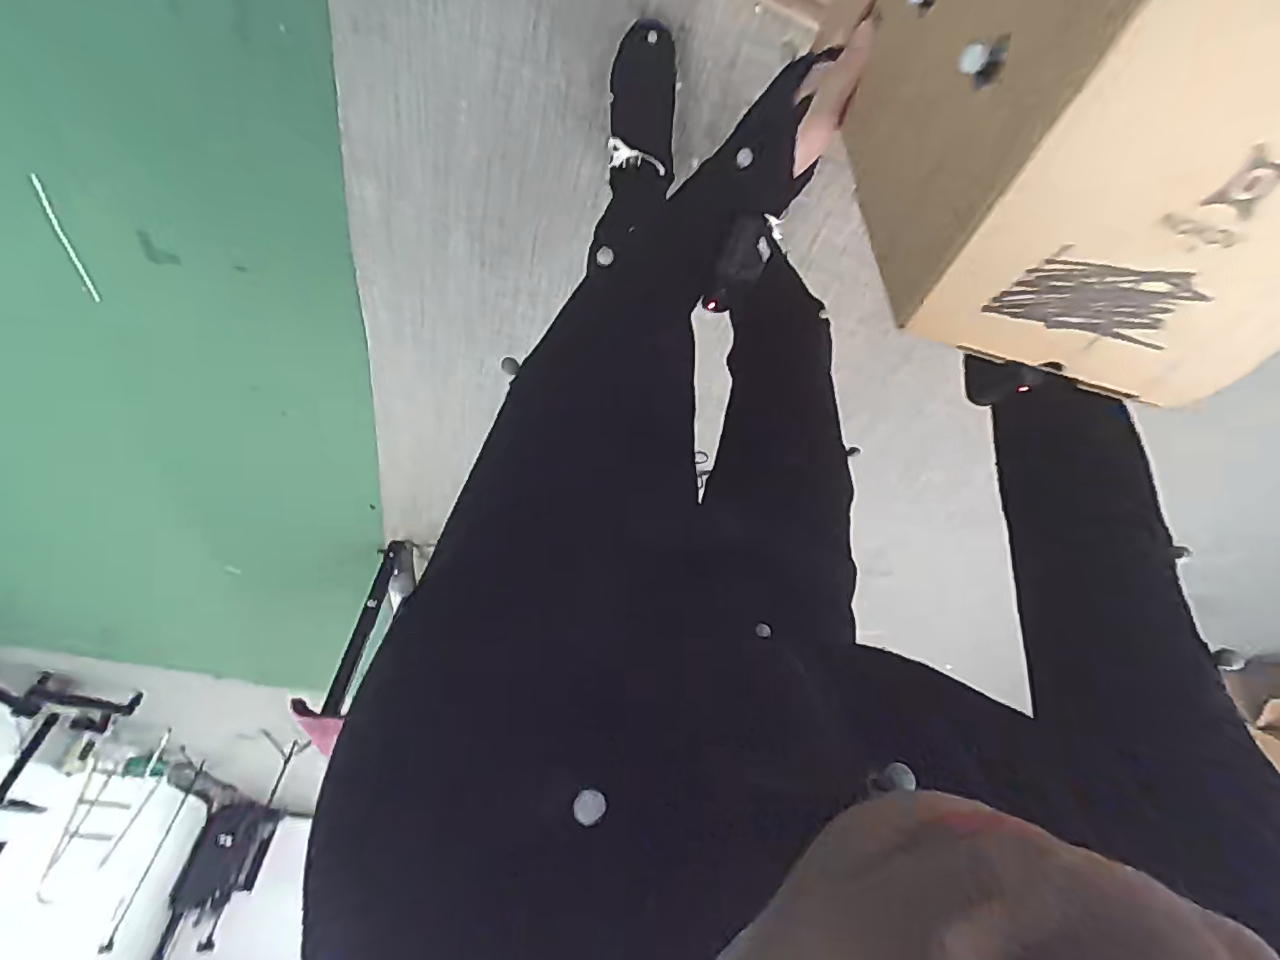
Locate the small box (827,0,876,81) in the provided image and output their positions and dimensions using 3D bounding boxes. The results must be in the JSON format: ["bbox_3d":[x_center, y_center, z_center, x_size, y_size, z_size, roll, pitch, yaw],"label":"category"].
[{"bbox_3d":[0.277,-0.434,0.457,0.168,0.176,0.179,14,141,-9],"label":"small box"}]

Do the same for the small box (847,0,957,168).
[{"bbox_3d":[0.258,-0.306,0.357,0.168,0.176,0.179,14,142,-8],"label":"small box"}]

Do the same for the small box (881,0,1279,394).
[{"bbox_3d":[0.239,-0.176,0.259,0.168,0.176,0.179,13,140,-6],"label":"small box"}]
